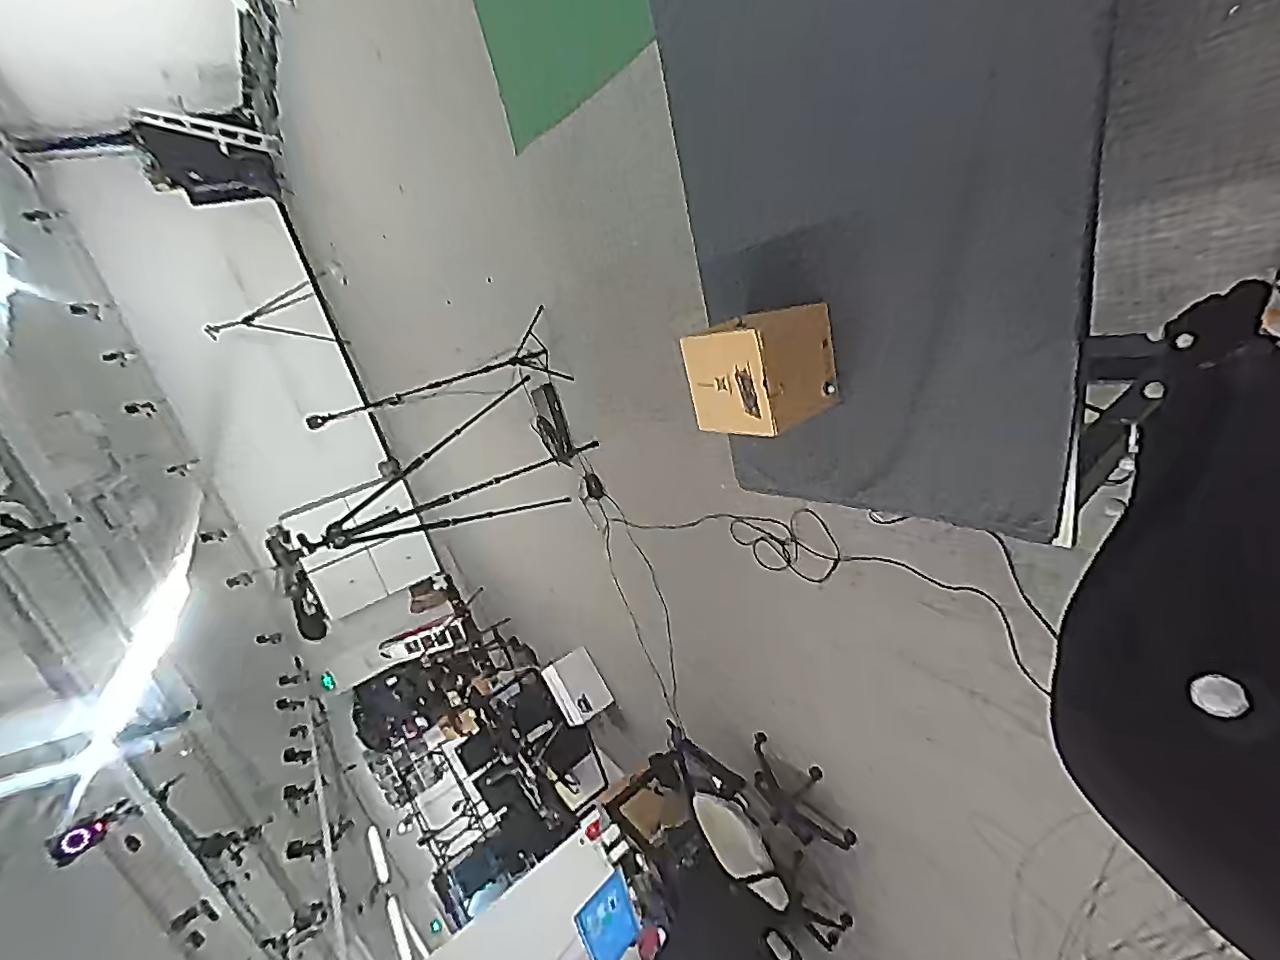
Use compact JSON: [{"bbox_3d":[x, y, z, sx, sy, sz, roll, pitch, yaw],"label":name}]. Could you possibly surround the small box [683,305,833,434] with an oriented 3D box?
[{"bbox_3d":[0.204,-0.185,0.905,0.179,0.176,0.168,12,123,54],"label":"small box"}]
